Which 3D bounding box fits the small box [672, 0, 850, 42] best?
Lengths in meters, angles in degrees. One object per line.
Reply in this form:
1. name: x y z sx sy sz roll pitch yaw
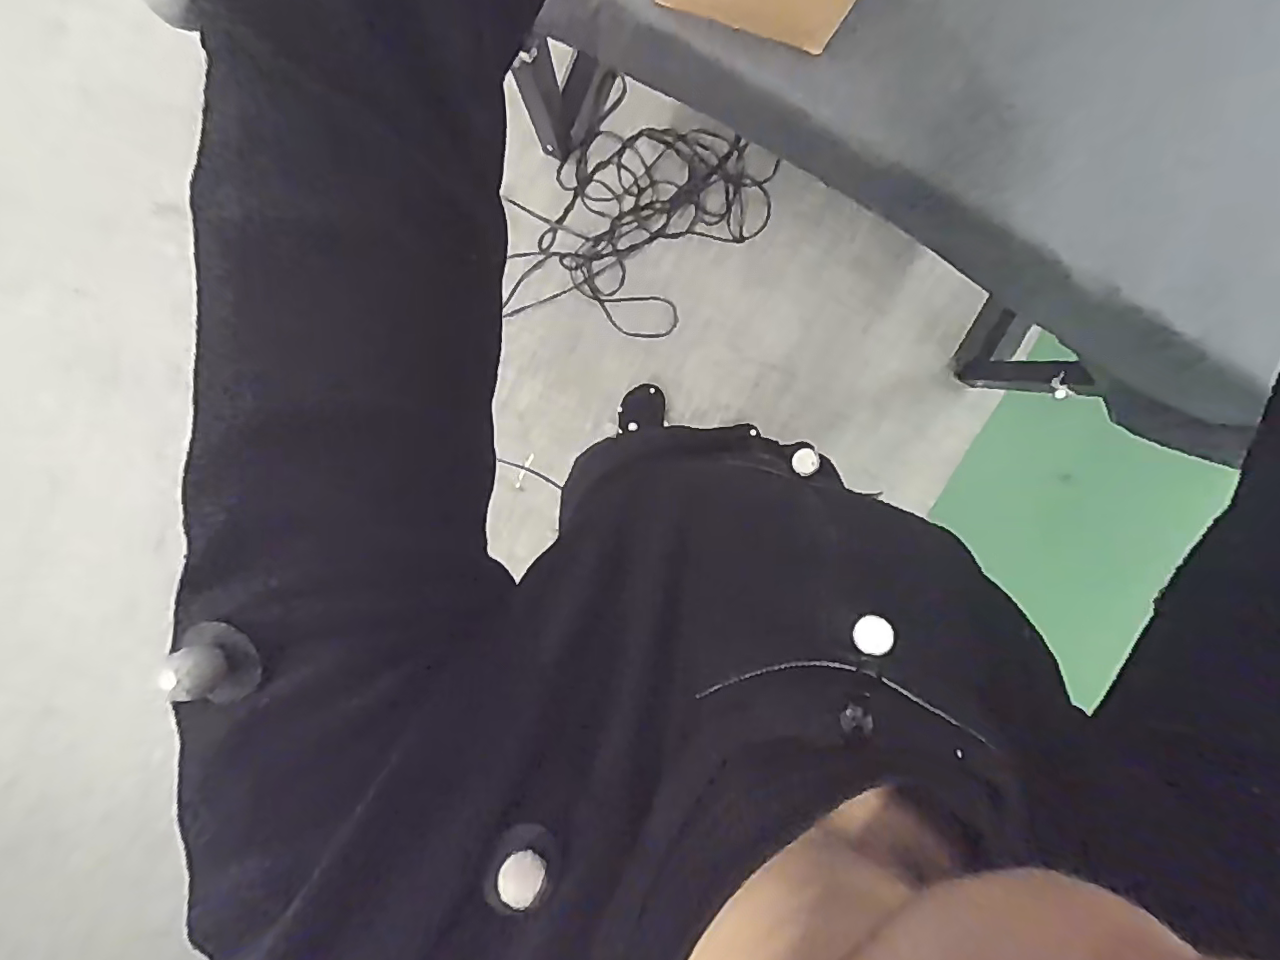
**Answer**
1. small box: 0.121 -0.503 0.433 0.179 0.176 0.168 14 101 -5
